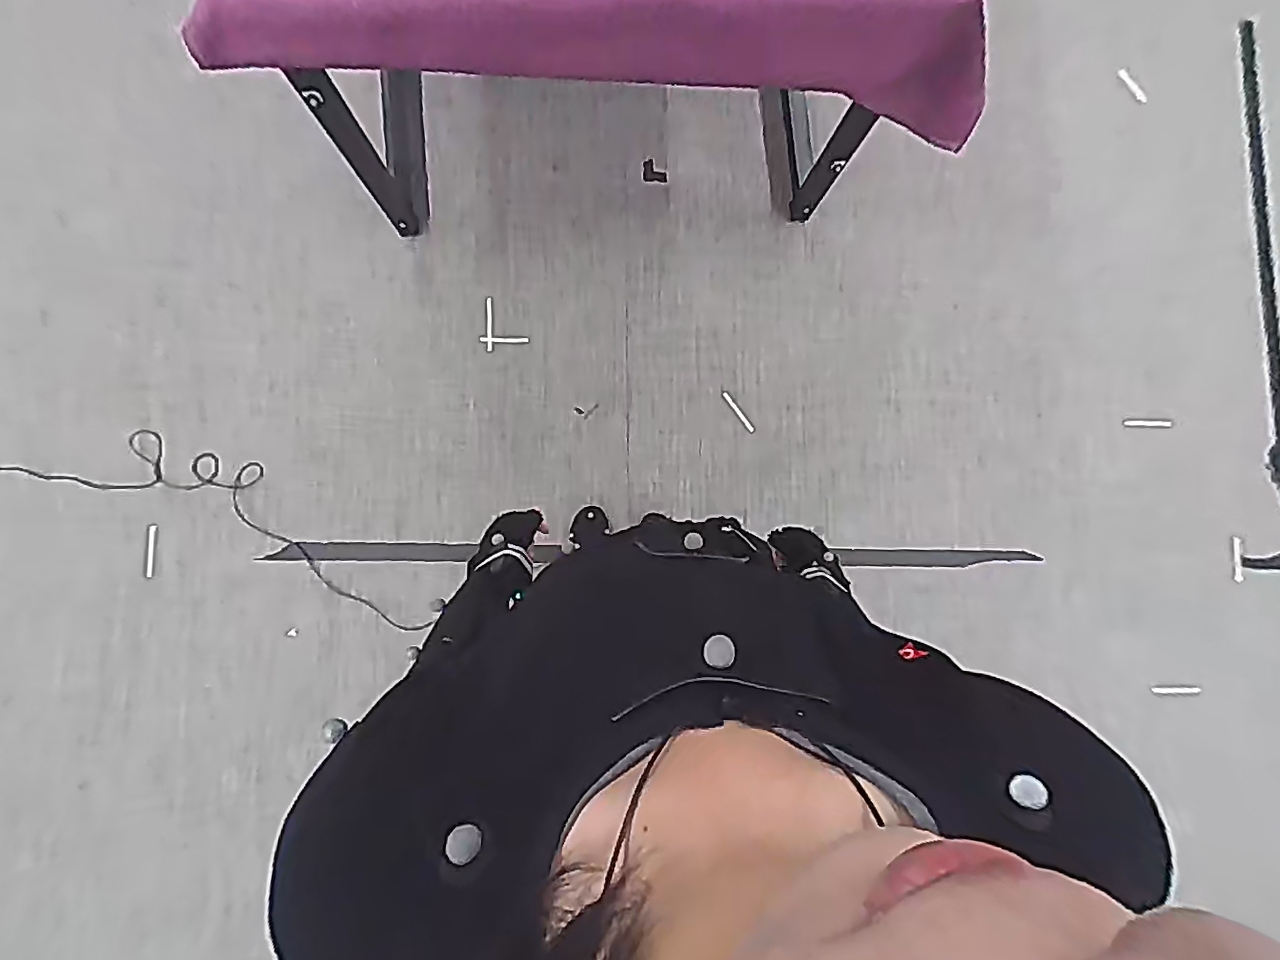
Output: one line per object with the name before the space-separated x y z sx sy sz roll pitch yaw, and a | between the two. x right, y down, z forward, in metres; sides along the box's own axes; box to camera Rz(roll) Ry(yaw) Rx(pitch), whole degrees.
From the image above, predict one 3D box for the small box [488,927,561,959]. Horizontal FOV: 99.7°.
small box | -0.284 1.228 1.309 0.179 0.176 0.168 1 85 -6
